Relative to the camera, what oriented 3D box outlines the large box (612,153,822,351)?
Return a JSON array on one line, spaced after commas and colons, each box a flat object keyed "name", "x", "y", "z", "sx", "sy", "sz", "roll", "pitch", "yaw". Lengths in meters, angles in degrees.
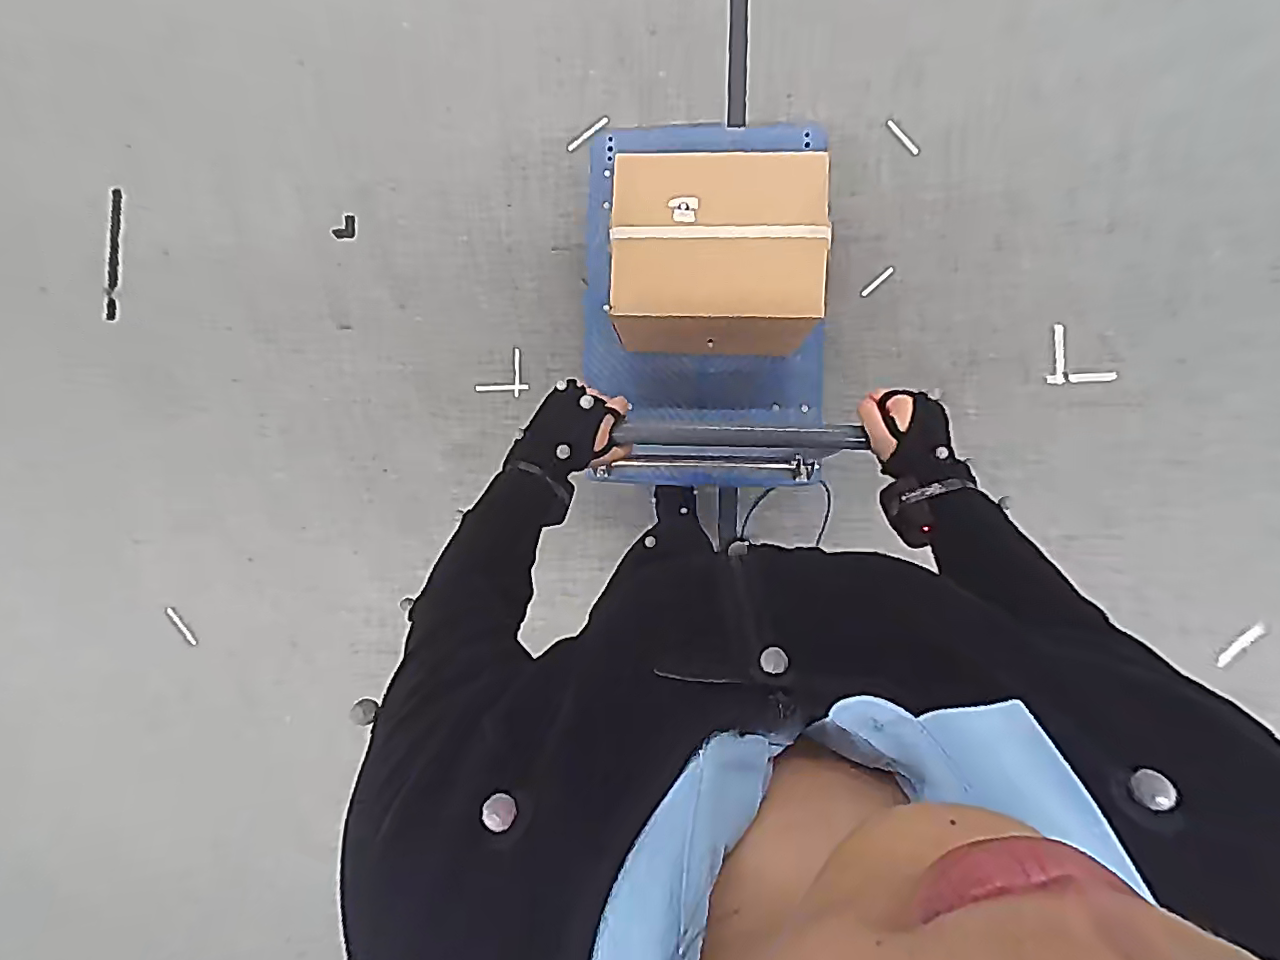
[{"name": "large box", "x": 0.162, "y": -0.471, "z": 1.190, "sx": 0.408, "sy": 0.320, "sz": 0.320, "roll": 2, "pitch": 89, "yaw": 5}]
